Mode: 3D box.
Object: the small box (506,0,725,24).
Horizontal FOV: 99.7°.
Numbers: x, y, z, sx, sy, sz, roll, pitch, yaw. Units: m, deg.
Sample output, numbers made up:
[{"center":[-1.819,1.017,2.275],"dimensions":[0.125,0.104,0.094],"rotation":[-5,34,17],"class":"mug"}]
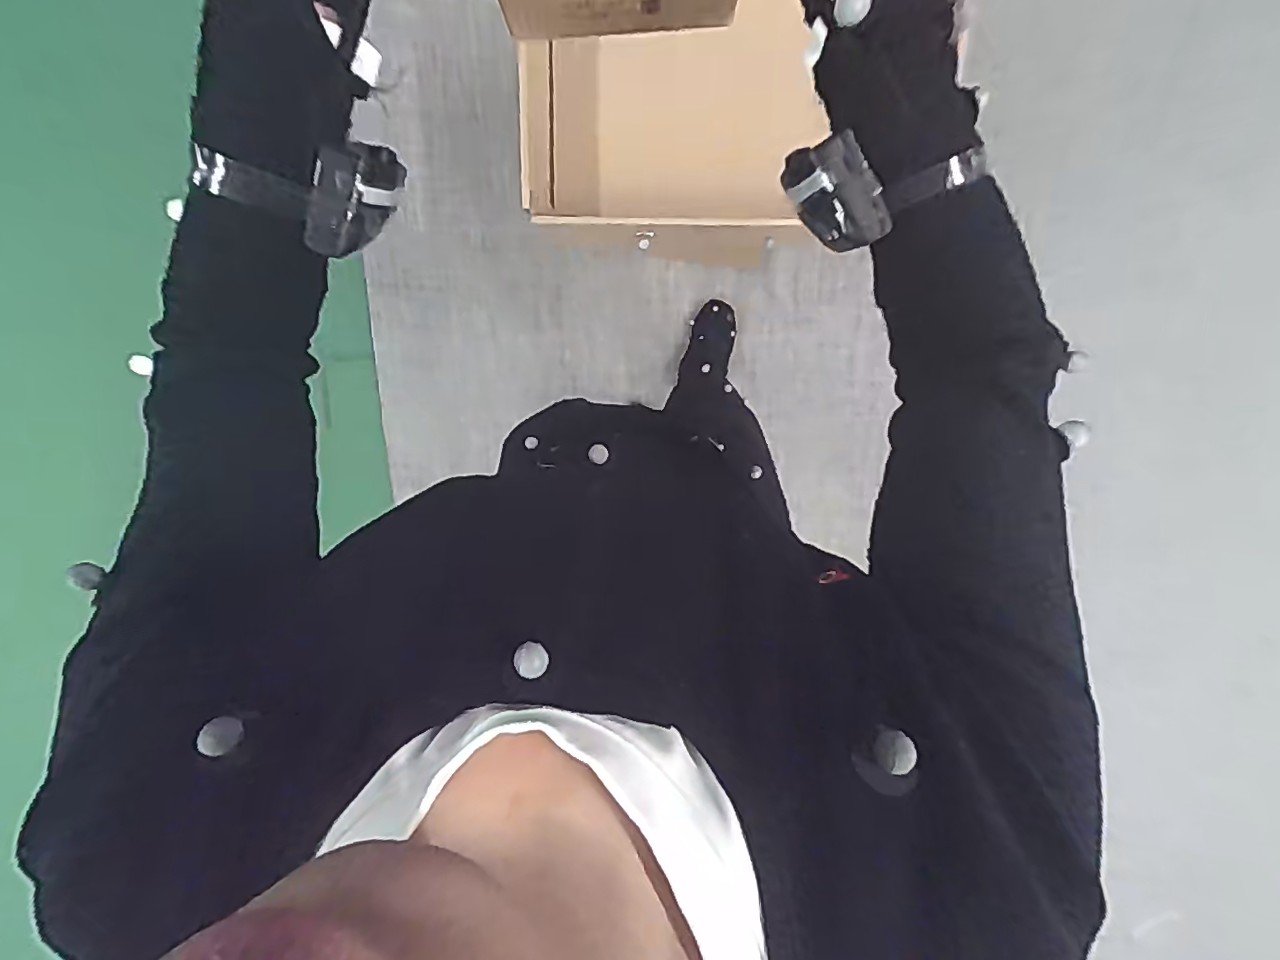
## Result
[{"center":[-0.023,-0.411,0.315],"dimensions":[0.168,0.176,0.179],"rotation":[-3,93,1],"class":"small box"}]
